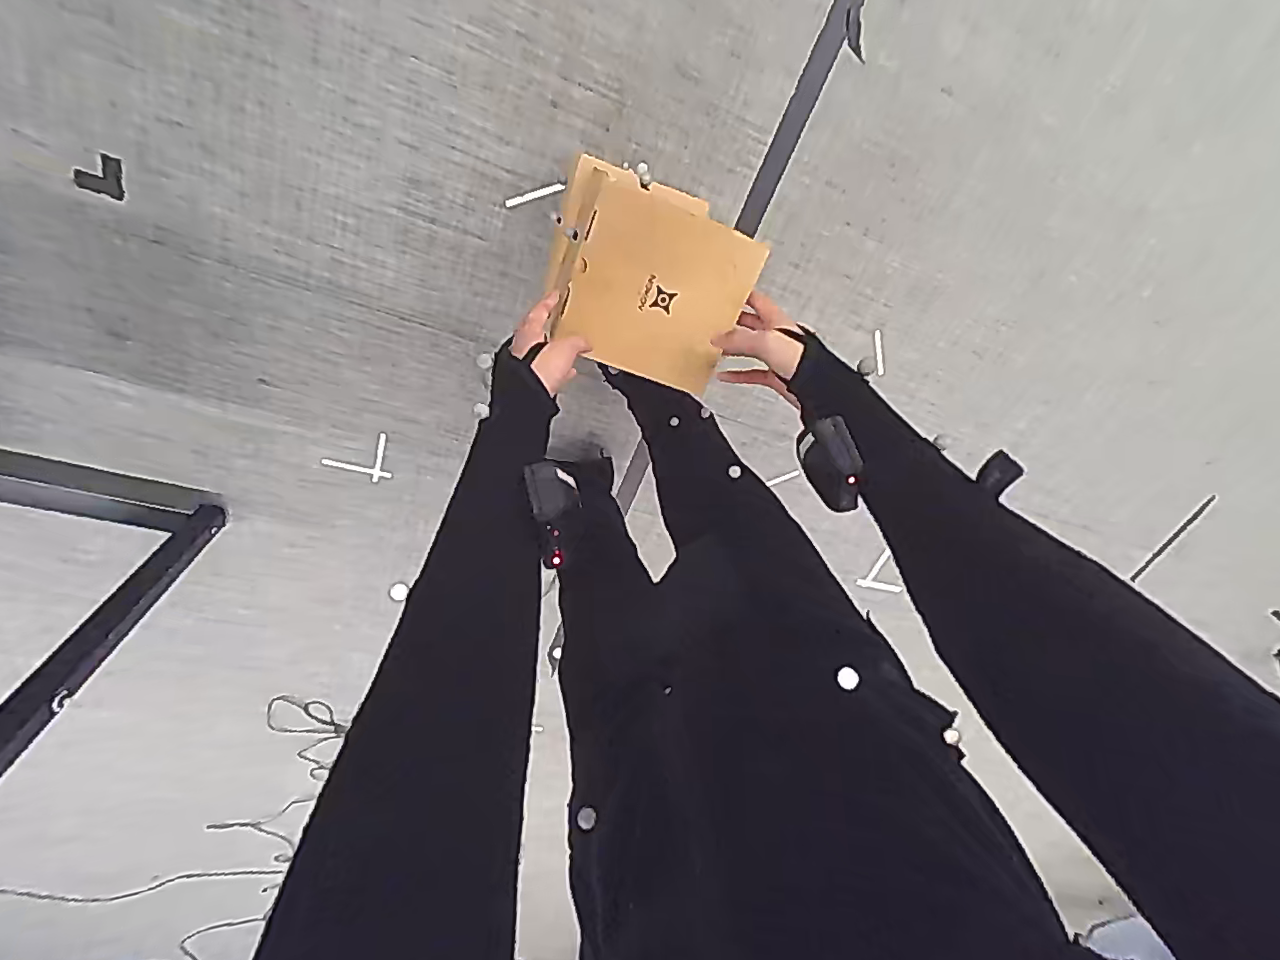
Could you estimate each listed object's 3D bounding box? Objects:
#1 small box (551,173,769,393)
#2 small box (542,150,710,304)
[{"bbox_3d":[0.008,-0.224,0.603,0.179,0.176,0.168,16,118,-18],"label":"small box"},{"bbox_3d":[-0.029,-0.320,0.730,0.168,0.176,0.179,13,118,-17],"label":"small box"}]
